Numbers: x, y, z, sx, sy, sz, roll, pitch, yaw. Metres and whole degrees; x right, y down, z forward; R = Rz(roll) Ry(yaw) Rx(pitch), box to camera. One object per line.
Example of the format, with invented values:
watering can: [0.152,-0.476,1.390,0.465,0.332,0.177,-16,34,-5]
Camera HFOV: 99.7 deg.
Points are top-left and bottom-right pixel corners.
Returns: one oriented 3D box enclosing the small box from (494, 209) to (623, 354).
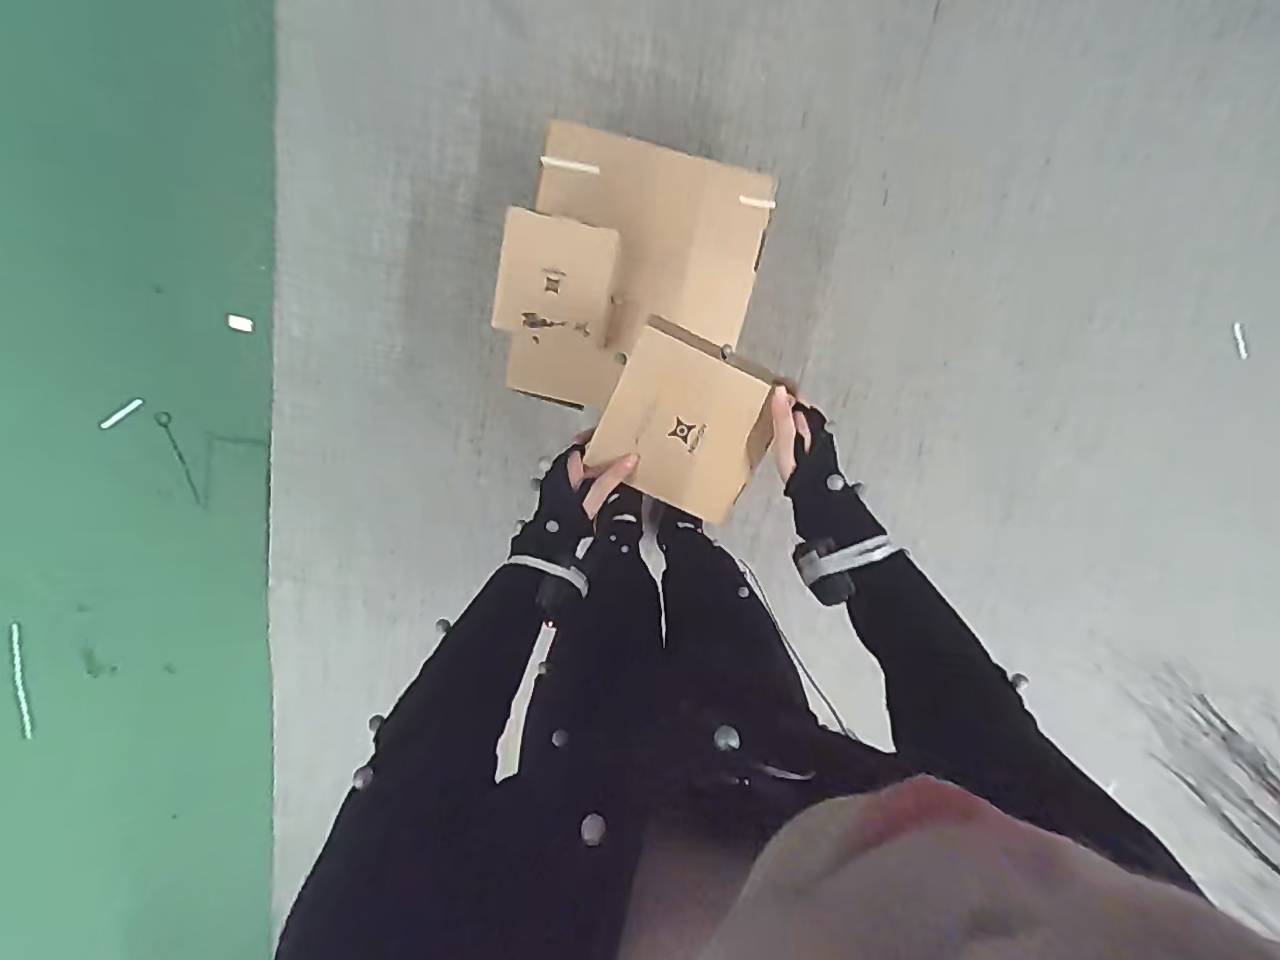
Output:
small box: [-0.127,-0.309,0.879,0.168,0.176,0.179,11,102,-4]

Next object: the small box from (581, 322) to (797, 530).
small box: [0.053,-0.075,0.639,0.179,0.176,0.168,26,109,-6]
